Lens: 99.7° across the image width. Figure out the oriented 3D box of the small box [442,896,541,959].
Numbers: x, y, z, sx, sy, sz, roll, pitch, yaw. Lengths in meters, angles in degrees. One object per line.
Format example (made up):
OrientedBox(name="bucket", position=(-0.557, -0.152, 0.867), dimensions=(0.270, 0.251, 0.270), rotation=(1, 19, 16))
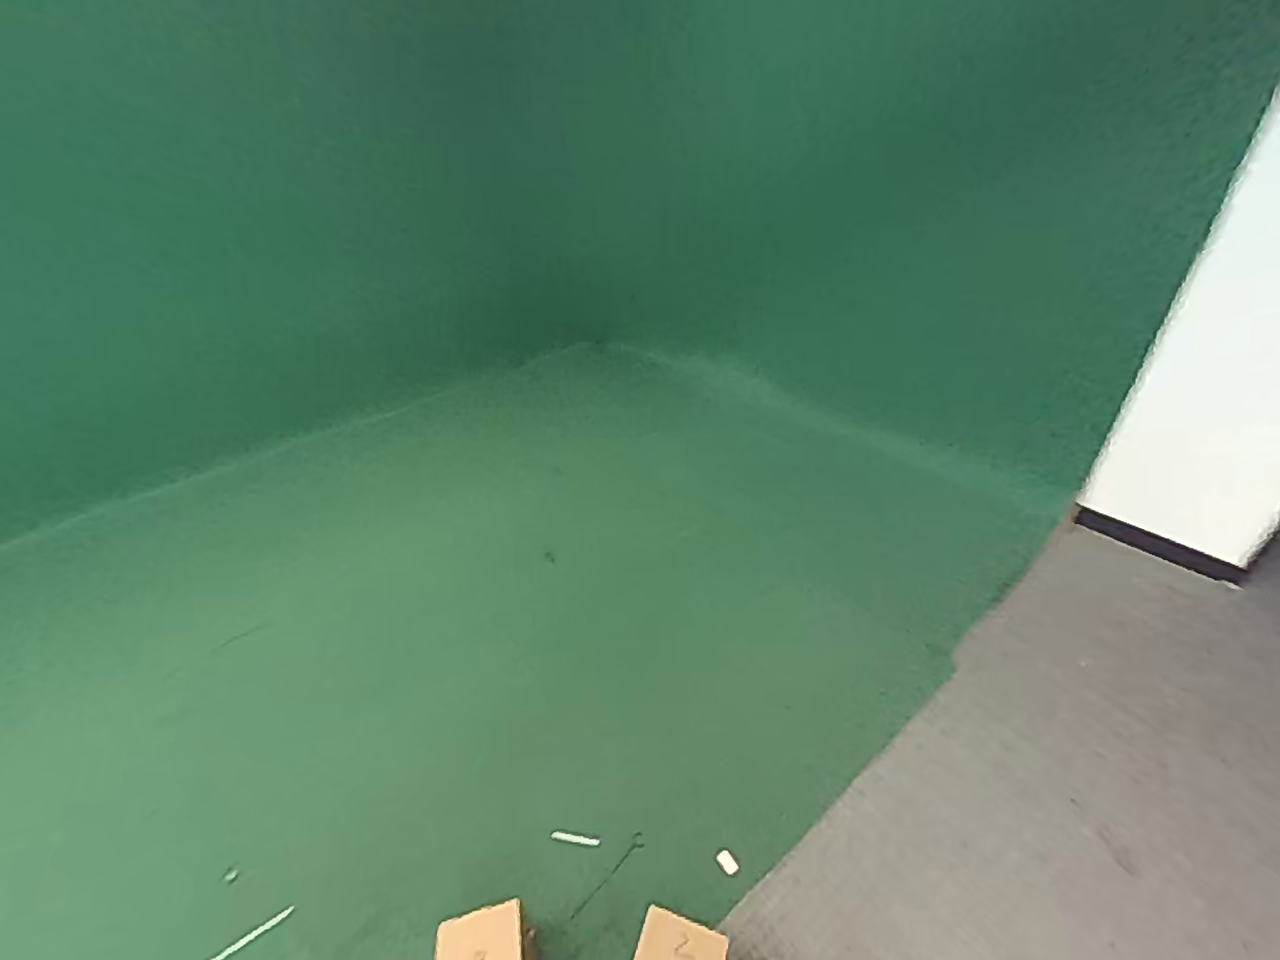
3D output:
OrientedBox(name="small box", position=(-0.298, 1.000, 1.101), dimensions=(0.168, 0.176, 0.179), rotation=(-12, 36, -7))
